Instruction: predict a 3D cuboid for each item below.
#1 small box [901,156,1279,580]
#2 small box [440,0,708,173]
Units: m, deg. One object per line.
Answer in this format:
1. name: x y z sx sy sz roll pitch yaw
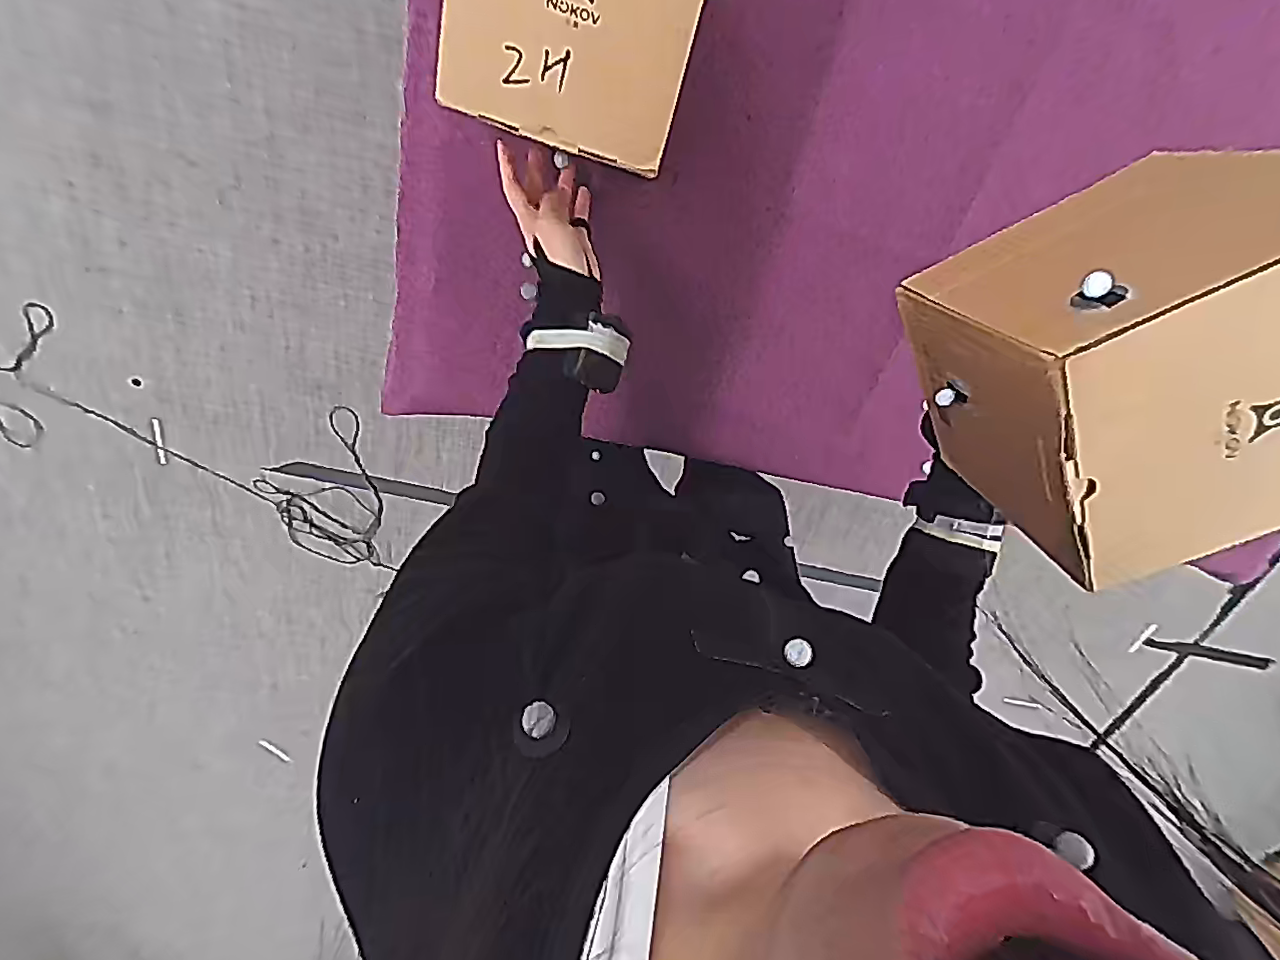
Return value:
1. small box: 0.299 -0.077 0.336 0.179 0.176 0.168 -26 119 13
2. small box: -0.040 -0.362 0.423 0.168 0.176 0.179 15 118 -9
